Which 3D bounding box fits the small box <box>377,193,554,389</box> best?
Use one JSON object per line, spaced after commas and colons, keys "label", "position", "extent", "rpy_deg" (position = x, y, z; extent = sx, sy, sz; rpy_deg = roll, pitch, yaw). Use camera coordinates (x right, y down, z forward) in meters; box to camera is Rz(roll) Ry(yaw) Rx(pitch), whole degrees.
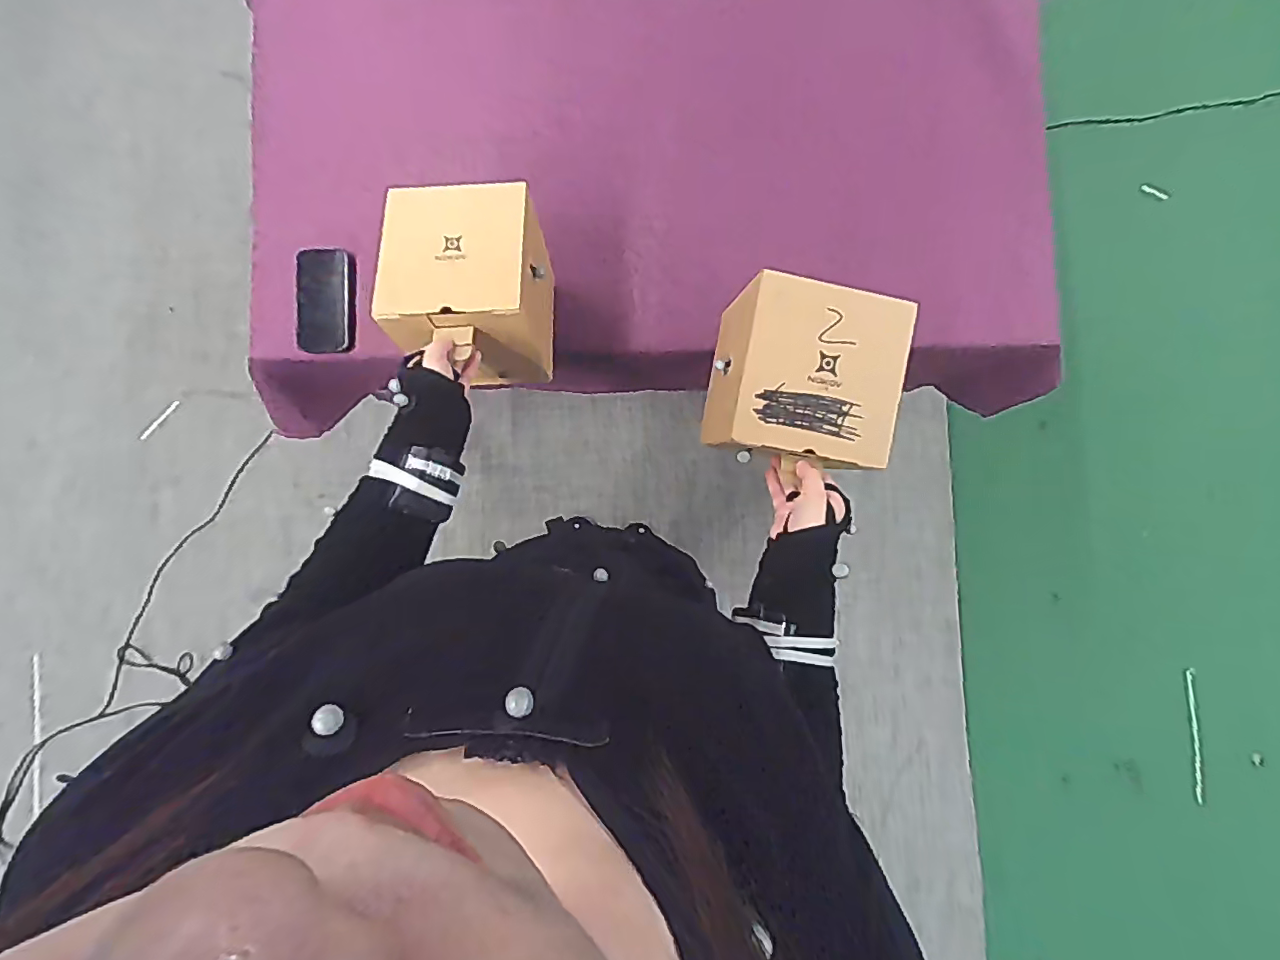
{"label": "small box", "position": [-0.205, -0.232, 0.689], "extent": [0.168, 0.176, 0.179], "rpy_deg": [-1, 74, 1]}
